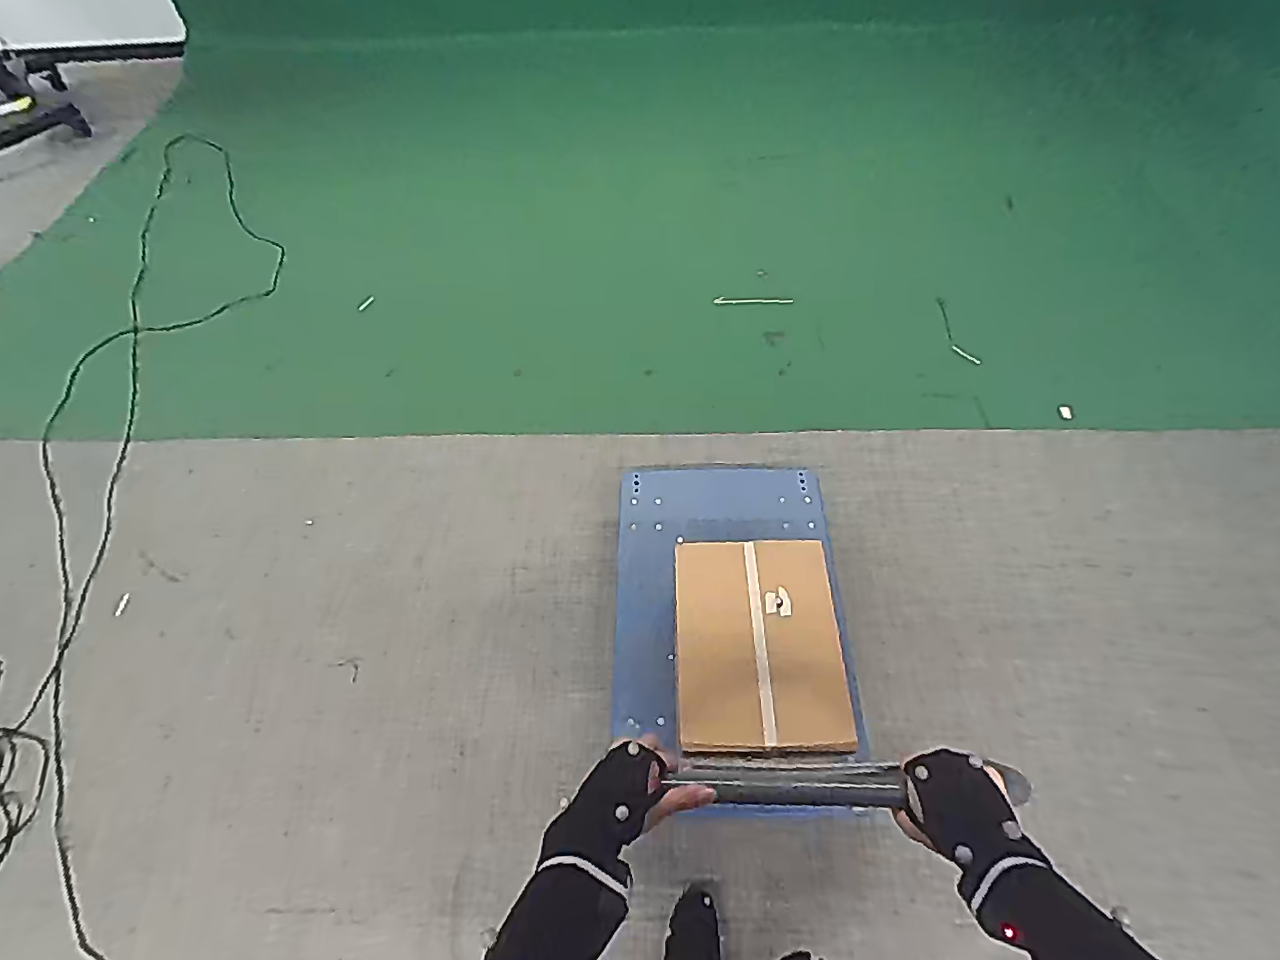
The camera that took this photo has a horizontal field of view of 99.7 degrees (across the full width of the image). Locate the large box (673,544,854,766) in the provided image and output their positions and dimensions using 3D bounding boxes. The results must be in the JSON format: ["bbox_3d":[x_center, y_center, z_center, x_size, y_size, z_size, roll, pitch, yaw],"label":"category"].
[{"bbox_3d":[0.237,0.391,1.190,0.320,0.320,0.408,-1,58,2],"label":"large box"}]
